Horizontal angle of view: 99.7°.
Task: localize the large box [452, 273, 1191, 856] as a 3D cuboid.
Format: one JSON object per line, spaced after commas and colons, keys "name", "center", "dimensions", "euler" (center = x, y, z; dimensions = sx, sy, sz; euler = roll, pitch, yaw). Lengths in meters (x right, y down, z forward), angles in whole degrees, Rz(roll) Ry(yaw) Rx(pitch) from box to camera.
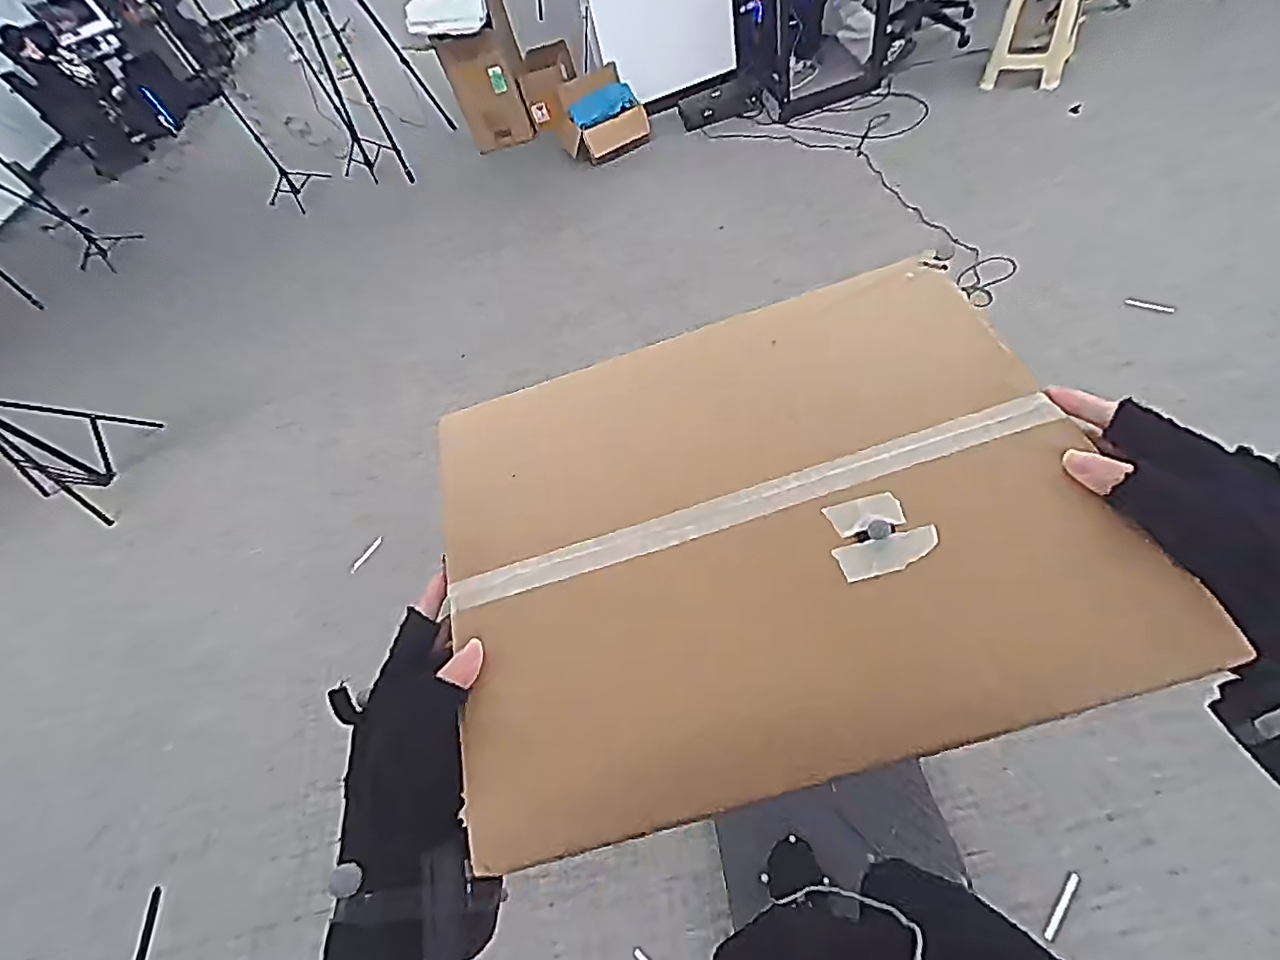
{"name": "large box", "center": [0.095, 0.091, 0.494], "dimensions": [0.408, 0.320, 0.320], "euler": [-18, 61, 3]}
